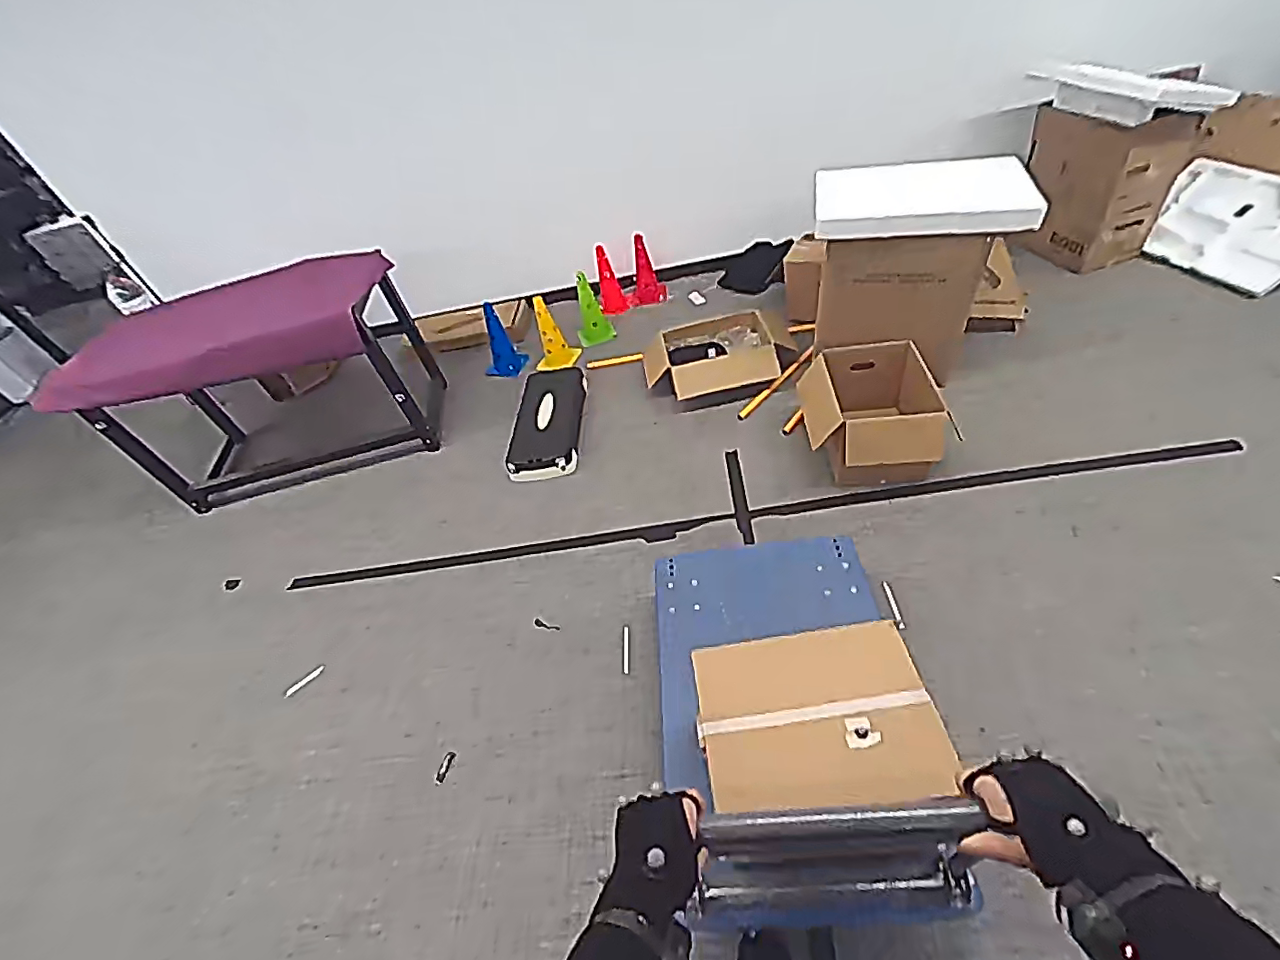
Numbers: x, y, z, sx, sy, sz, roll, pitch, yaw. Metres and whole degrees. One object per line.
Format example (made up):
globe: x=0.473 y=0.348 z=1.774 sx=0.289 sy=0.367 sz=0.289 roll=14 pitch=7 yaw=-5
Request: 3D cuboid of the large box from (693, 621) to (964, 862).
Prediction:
large box: x=0.338 y=0.526 z=1.083 sx=0.408 sy=0.320 sz=0.320 roll=-10 pitch=45 yaw=3
